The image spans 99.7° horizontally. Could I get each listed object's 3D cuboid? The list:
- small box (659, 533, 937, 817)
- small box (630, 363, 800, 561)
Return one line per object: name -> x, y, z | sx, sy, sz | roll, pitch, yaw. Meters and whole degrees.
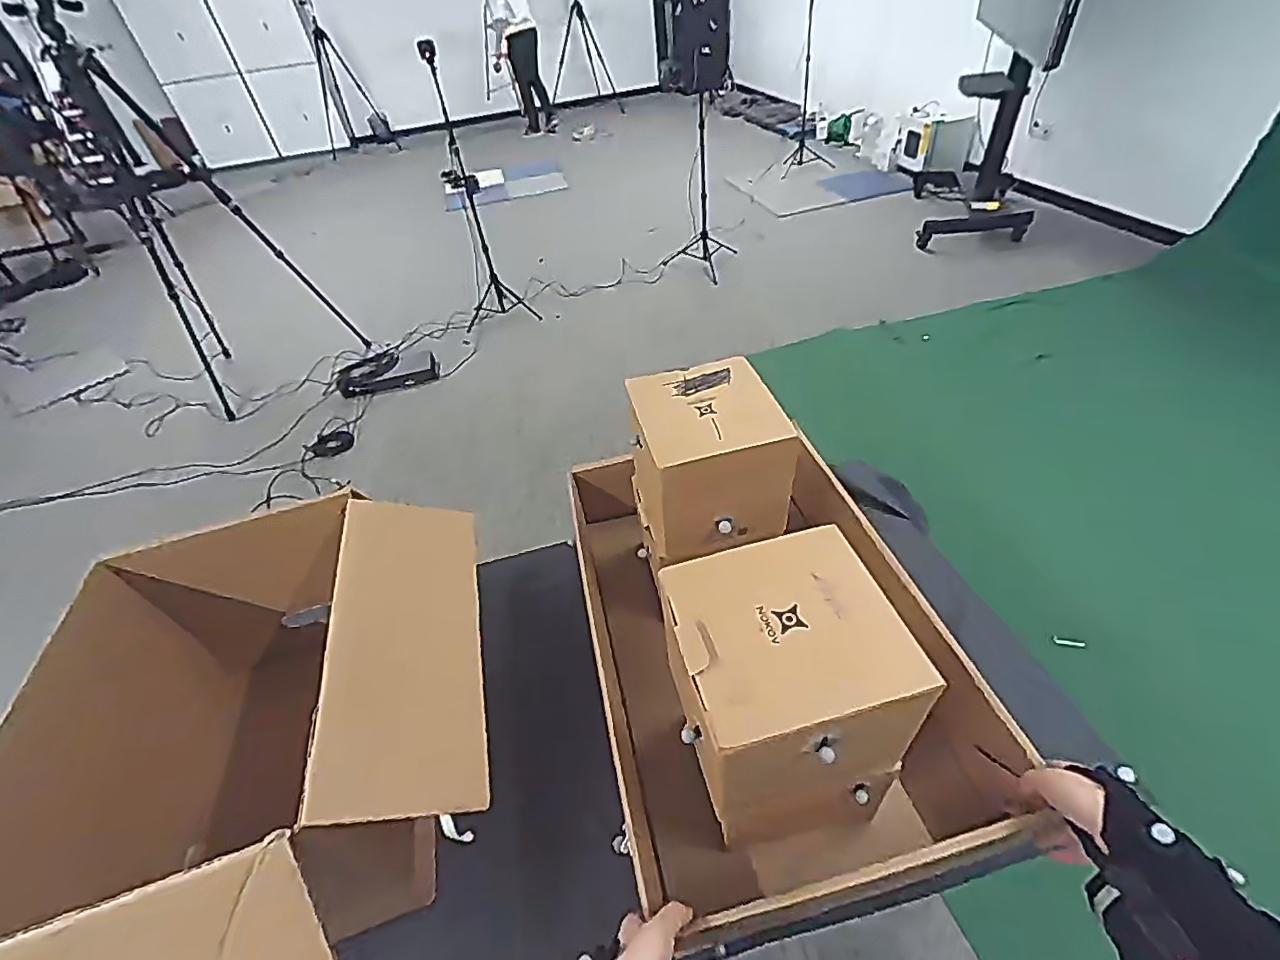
small box -> 0.127, 0.180, 0.497 | 0.179, 0.176, 0.168 | -13, 44, -6
small box -> 0.088, -0.024, 0.705 | 0.168, 0.176, 0.179 | -13, 46, -5
